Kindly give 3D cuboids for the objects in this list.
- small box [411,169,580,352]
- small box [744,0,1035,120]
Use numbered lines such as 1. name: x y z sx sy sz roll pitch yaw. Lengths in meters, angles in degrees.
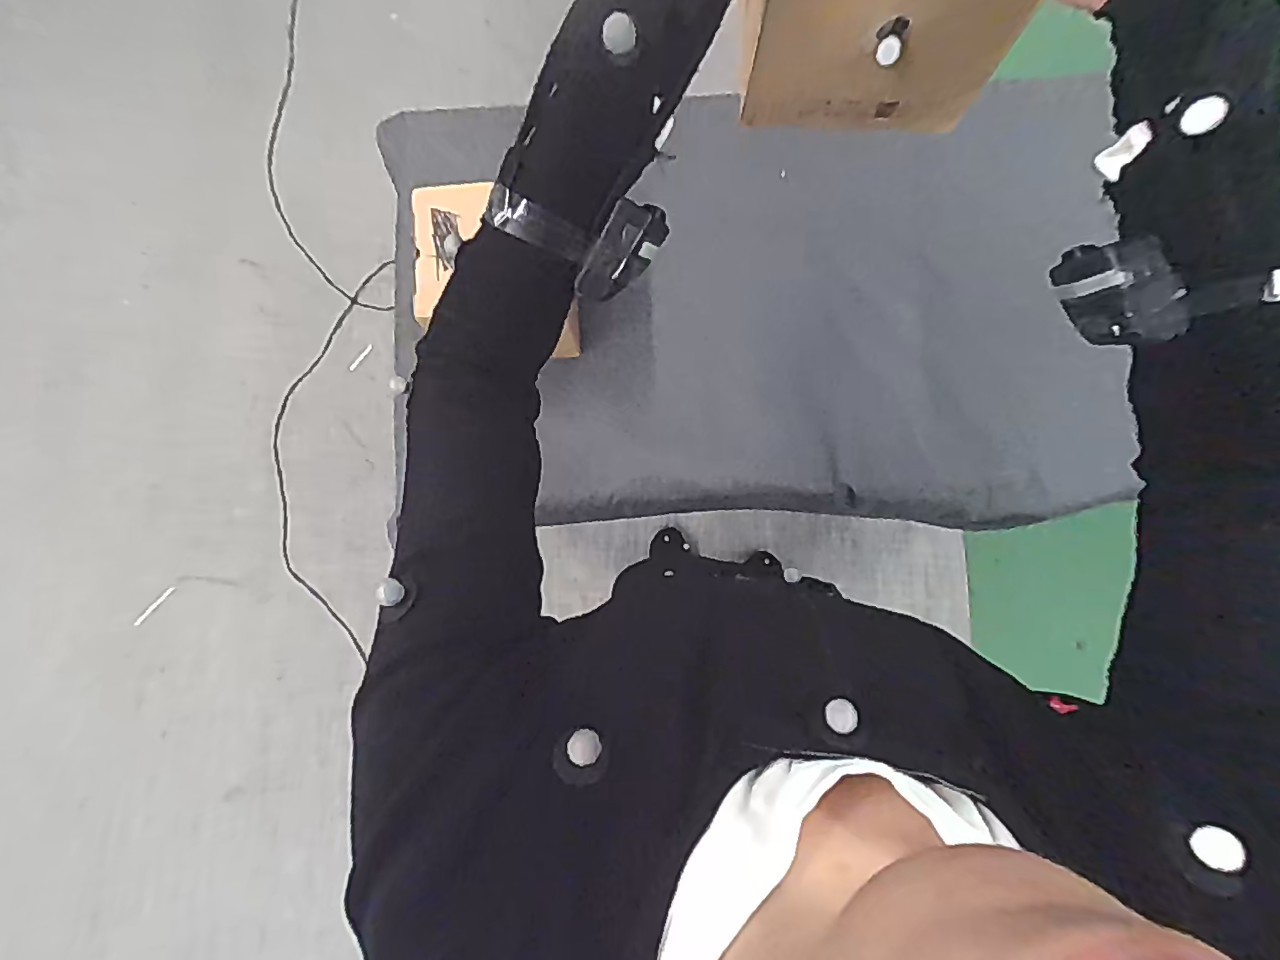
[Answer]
1. small box: -0.180 -0.275 0.714 0.179 0.176 0.168 -4 85 0
2. small box: 0.163 -0.367 0.343 0.168 0.176 0.179 3 83 1
